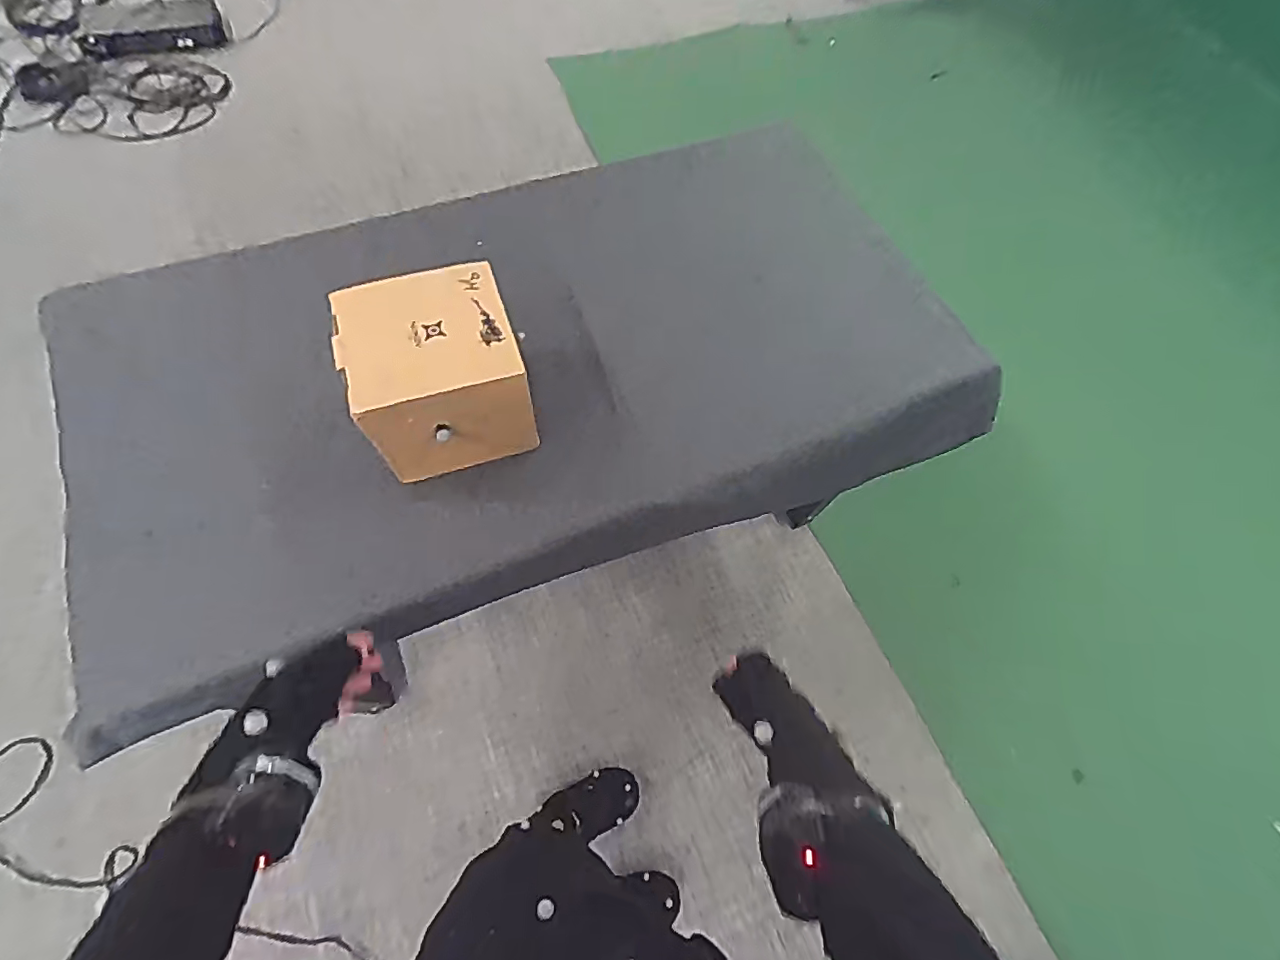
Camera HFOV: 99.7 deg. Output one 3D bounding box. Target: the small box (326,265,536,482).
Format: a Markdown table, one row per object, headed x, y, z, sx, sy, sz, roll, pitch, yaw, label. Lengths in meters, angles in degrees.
| x | y | z | sx | sy | sz | roll | pitch | yaw | label |
| --- | --- | --- | --- | --- | --- | --- | --- | --- | --- |
| -0.237 | -0.117 | 0.644 | 0.179 | 0.176 | 0.168 | -17 | 68 | -11 | small box |
